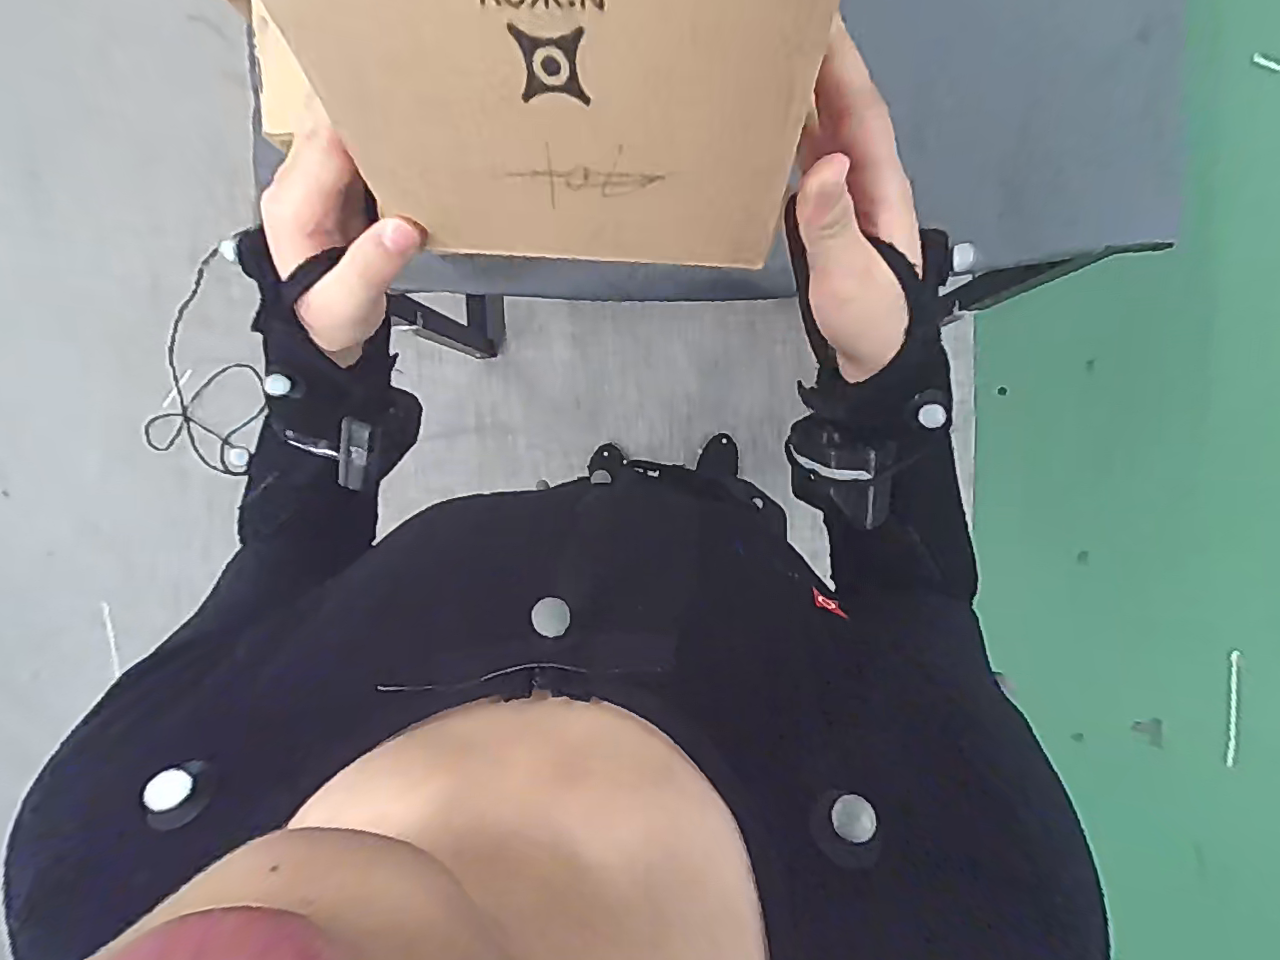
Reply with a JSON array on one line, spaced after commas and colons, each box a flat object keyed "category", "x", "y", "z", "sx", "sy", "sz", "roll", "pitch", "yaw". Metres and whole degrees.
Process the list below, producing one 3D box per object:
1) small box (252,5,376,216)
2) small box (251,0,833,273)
[{"category": "small box", "x": -0.210, "y": -0.356, "z": 0.497, "sx": 0.179, "sy": 0.176, "sz": 0.168, "roll": 0, "pitch": 95, "yaw": 4}, {"category": "small box", "x": -0.023, "y": -0.203, "z": 0.191, "sx": 0.168, "sy": 0.179, "sz": 0.176, "roll": 5, "pitch": 73, "yaw": 2}]
